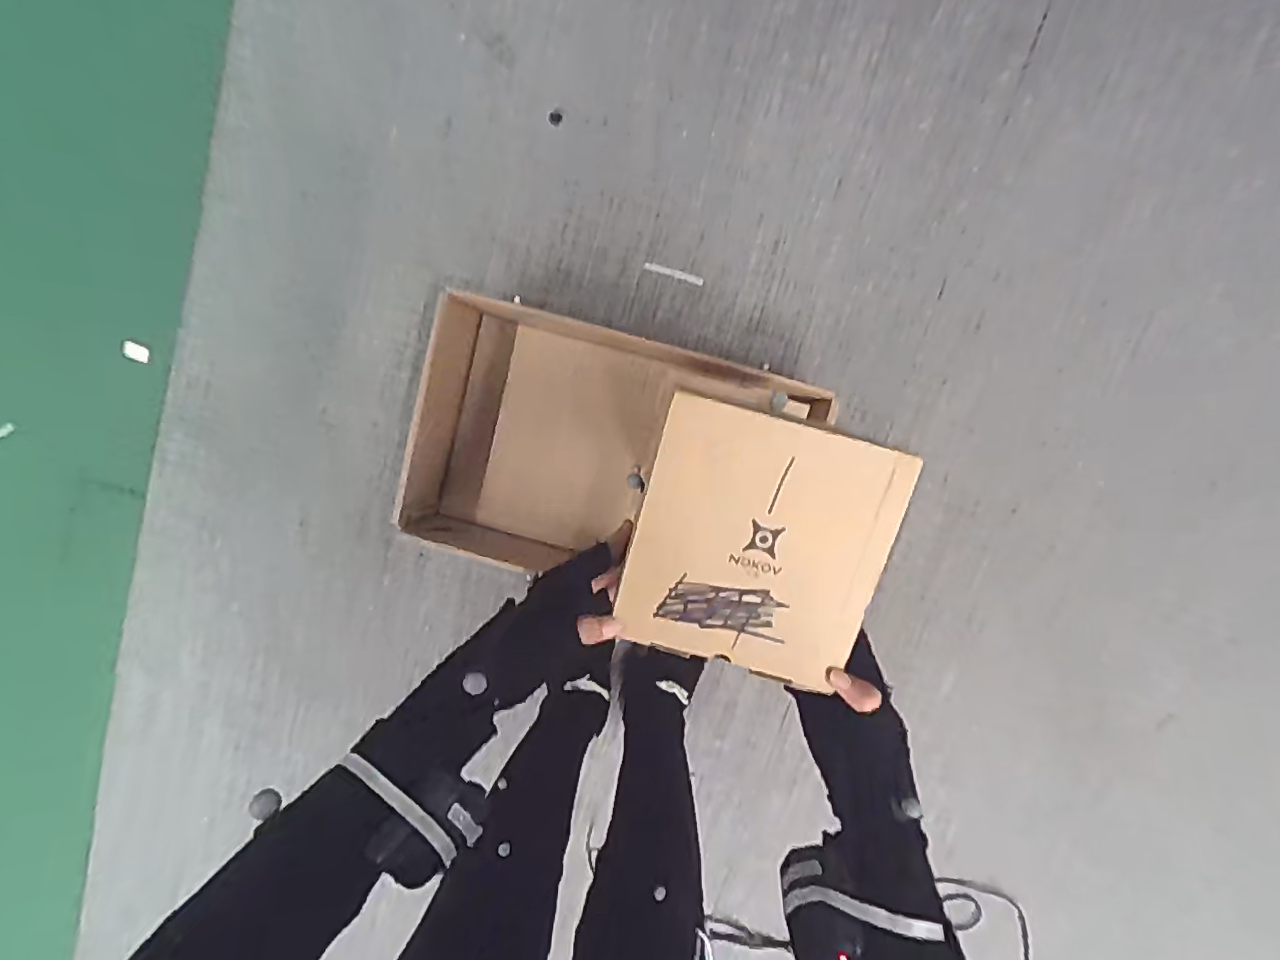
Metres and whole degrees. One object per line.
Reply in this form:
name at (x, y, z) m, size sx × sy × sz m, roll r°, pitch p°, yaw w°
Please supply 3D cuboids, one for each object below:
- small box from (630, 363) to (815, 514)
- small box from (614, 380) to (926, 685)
small box at (0.097, -0.034, 0.675) m, size 0.168 × 0.176 × 0.179 m, roll 16°, pitch 99°, yaw 3°
small box at (0.086, 0.025, 0.436) m, size 0.168 × 0.176 × 0.179 m, roll 15°, pitch 102°, yaw -1°
